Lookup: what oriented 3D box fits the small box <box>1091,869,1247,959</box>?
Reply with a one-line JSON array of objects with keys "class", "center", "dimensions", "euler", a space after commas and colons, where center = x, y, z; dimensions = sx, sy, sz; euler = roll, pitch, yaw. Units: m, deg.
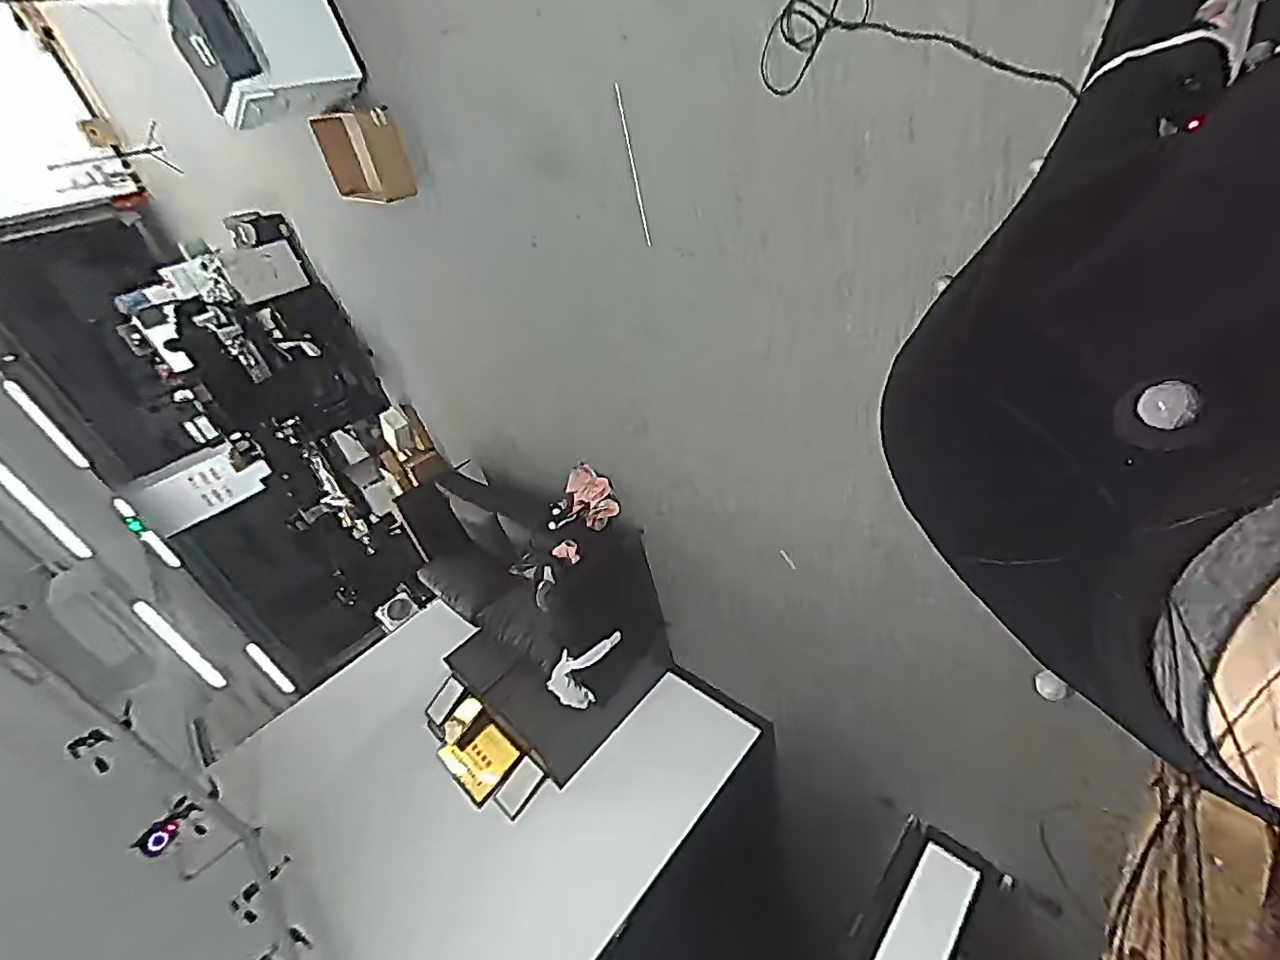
[{"class": "small box", "center": [1.032, 0.911, 1.060], "dimensions": [0.179, 0.176, 0.168], "euler": [20, 136, 40]}]
